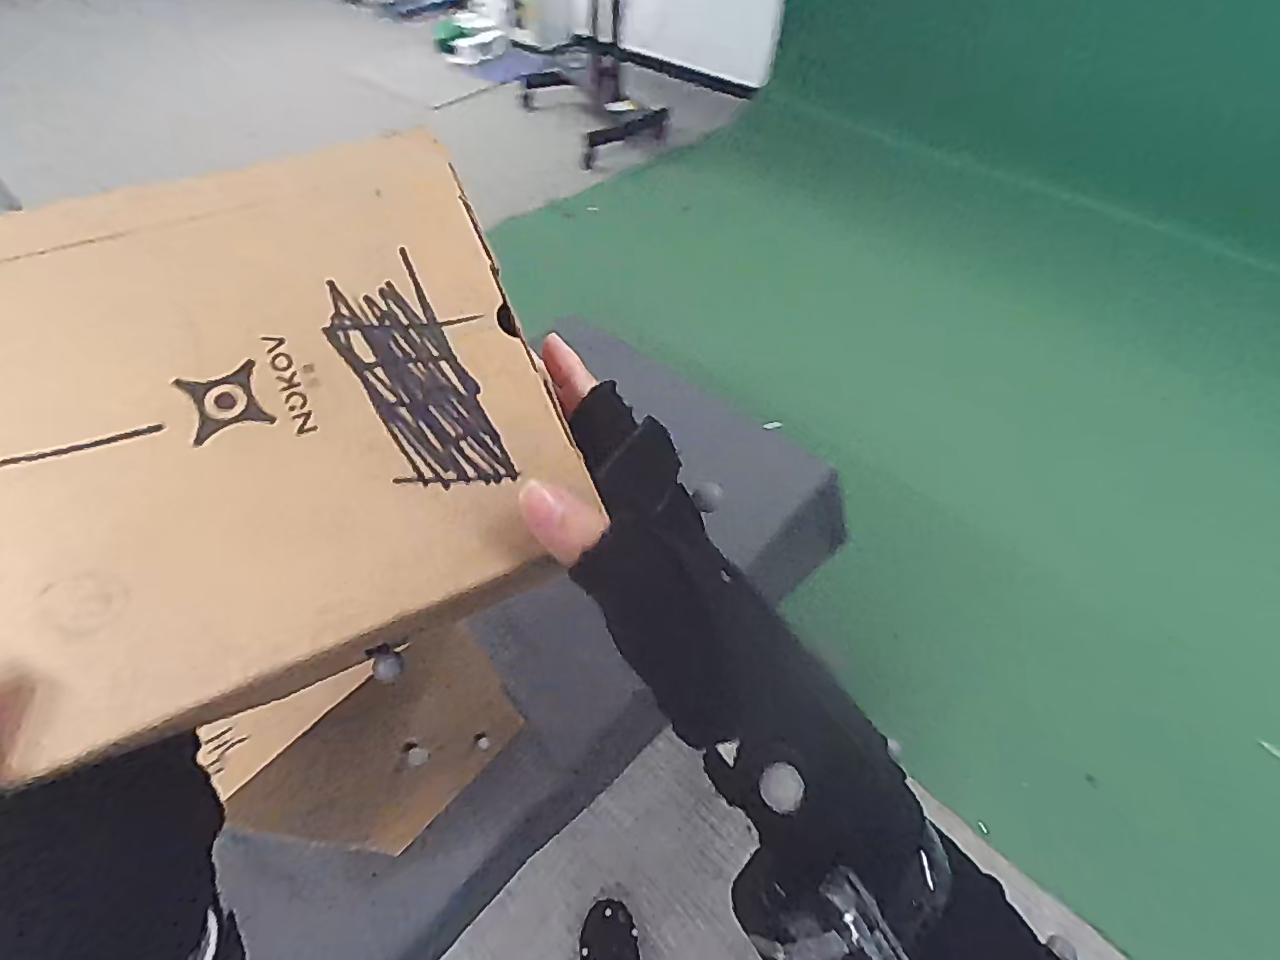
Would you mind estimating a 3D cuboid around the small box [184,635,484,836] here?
[{"bbox_3d":[-0.250,0.152,0.446,0.168,0.176,0.179,35,60,26],"label":"small box"}]

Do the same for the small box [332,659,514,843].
[{"bbox_3d":[-0.254,0.249,0.579,0.168,0.176,0.179,35,62,24],"label":"small box"}]
